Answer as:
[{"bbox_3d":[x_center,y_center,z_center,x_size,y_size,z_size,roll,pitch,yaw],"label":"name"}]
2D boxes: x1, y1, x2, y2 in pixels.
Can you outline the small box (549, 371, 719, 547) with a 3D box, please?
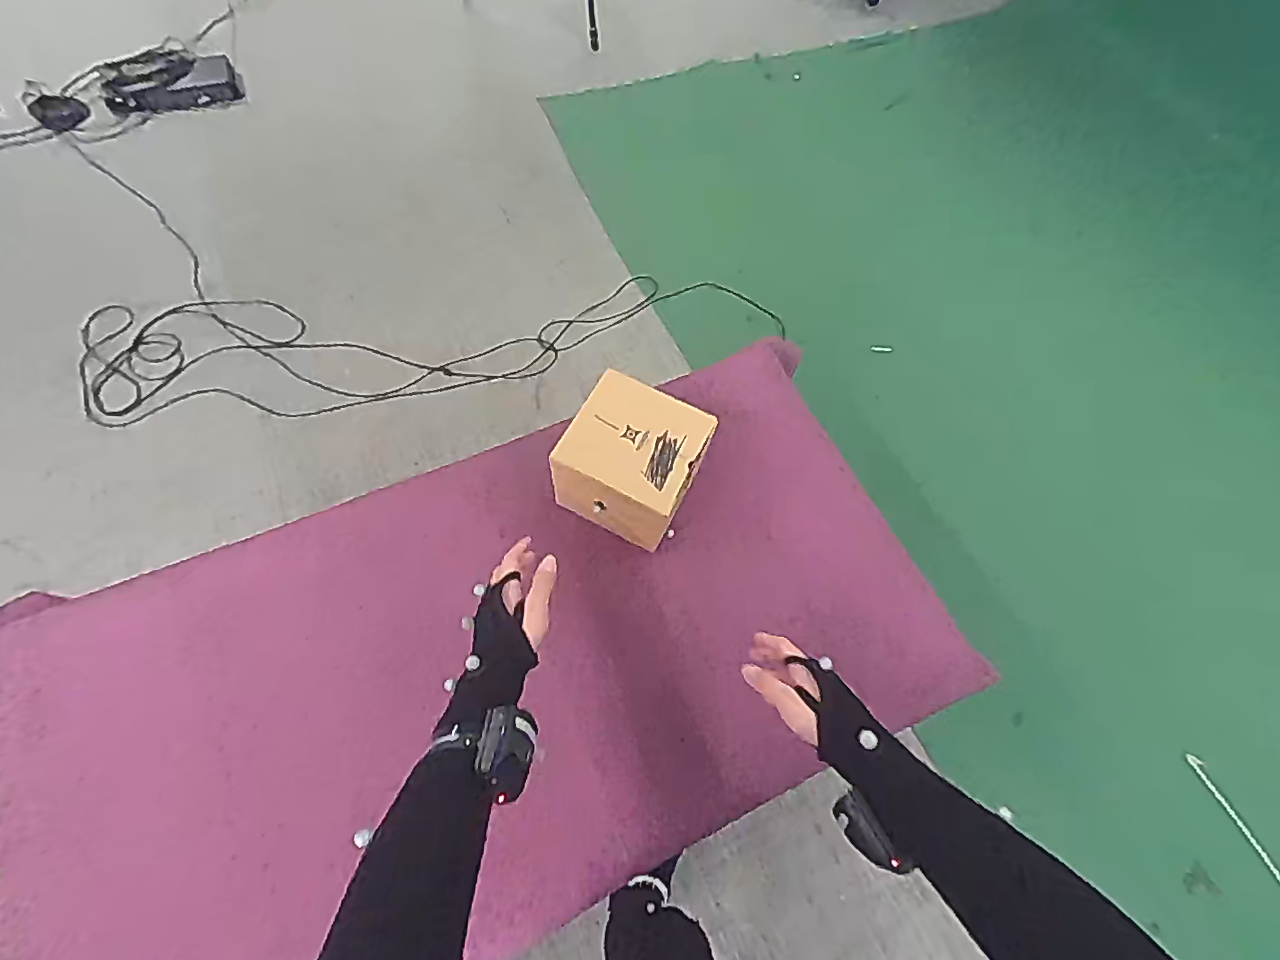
[{"bbox_3d":[-0.011,-0.019,0.788,0.179,0.176,0.168,27,66,7],"label":"small box"}]
